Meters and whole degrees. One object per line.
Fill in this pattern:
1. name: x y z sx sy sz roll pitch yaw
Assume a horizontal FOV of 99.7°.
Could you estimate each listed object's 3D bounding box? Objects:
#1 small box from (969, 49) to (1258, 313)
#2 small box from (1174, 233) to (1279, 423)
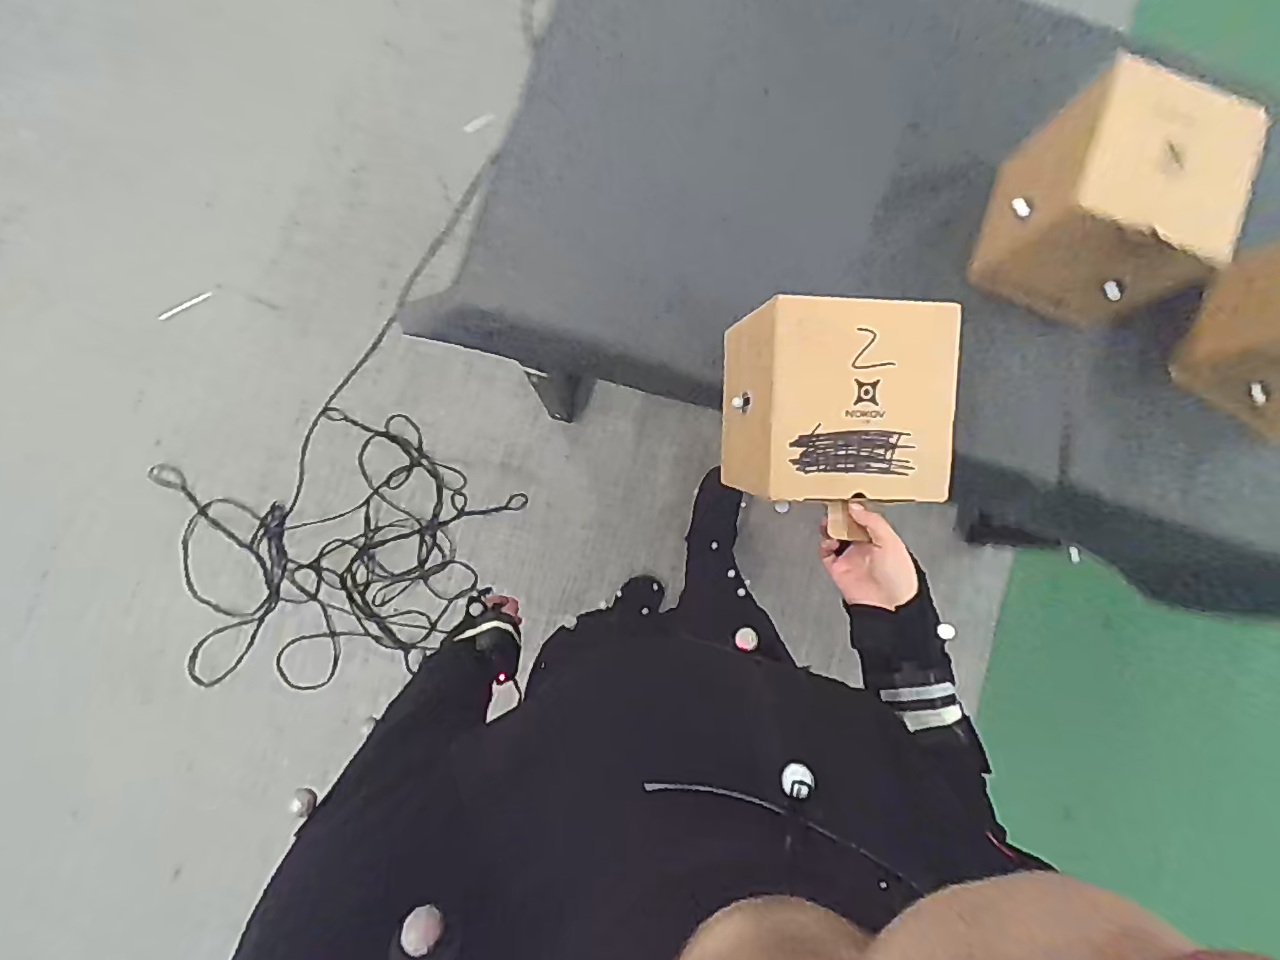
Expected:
1. small box: 0.515 -0.318 0.615 0.168 0.176 0.179 19 83 -2
2. small box: 0.783 -0.188 0.615 0.168 0.176 0.179 32 85 0
